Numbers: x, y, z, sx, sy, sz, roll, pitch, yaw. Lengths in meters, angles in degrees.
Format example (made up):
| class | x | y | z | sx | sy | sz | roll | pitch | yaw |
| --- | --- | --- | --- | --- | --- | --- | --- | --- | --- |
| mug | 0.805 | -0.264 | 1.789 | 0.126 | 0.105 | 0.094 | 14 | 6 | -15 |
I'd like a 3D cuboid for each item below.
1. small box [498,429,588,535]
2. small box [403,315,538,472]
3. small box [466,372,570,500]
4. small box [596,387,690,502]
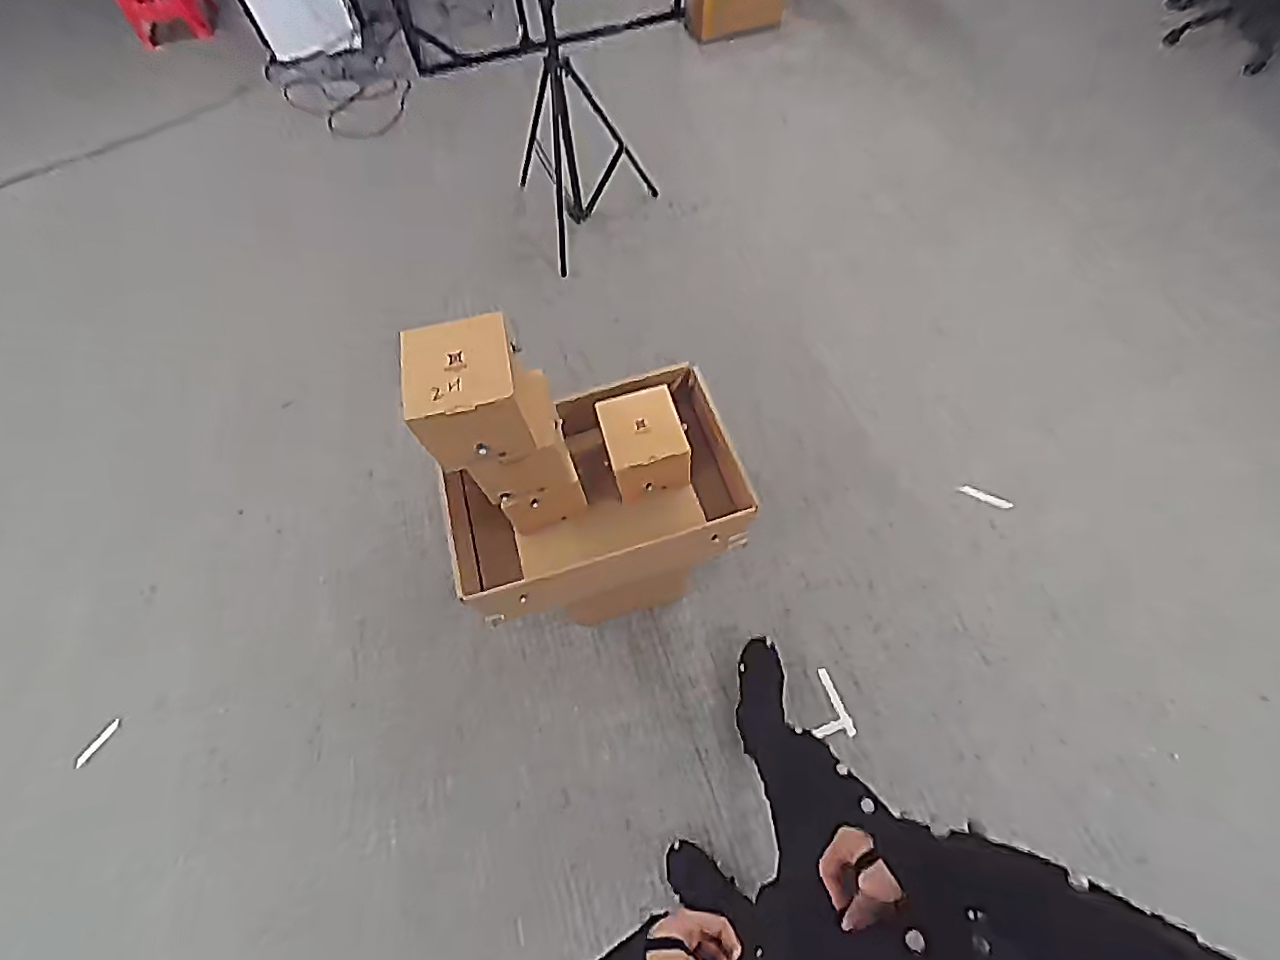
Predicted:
| class | x | y | z | sx | sy | sz | roll | pitch | yaw |
| --- | --- | --- | --- | --- | --- | --- | --- | --- | --- |
| small box | -0.225 | -0.004 | 1.192 | 0.168 | 0.176 | 0.179 | -20 | 64 | -5 |
| small box | -0.275 | -0.138 | 0.895 | 0.168 | 0.176 | 0.179 | -13 | 65 | -3 |
| small box | -0.238 | -0.076 | 1.046 | 0.168 | 0.176 | 0.179 | -13 | 64 | -4 |
| small box | 0.006 | -0.075 | 1.215 | 0.168 | 0.176 | 0.179 | -16 | 65 | -4 |
